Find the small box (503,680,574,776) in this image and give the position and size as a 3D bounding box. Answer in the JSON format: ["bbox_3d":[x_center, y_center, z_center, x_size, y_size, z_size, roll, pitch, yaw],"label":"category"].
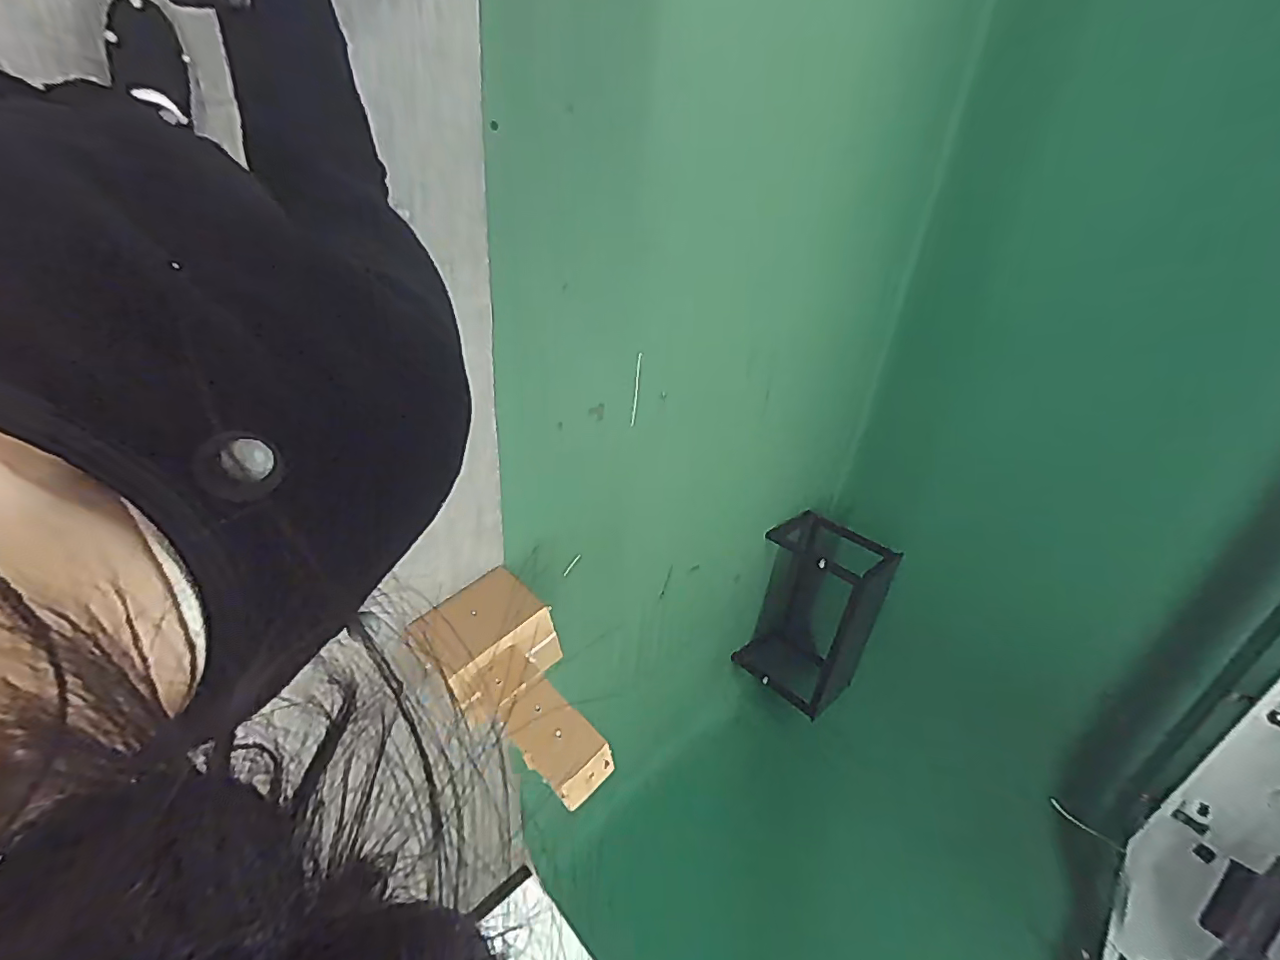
[{"bbox_3d":[-0.315,0.779,1.711,0.179,0.176,0.168,-35,135,-30],"label":"small box"}]

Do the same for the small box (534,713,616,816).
[{"bbox_3d":[-0.198,0.843,1.614,0.179,0.176,0.168,-33,135,-30],"label":"small box"}]

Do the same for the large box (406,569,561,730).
[{"bbox_3d":[-0.565,0.608,1.987,0.408,0.320,0.320,-35,137,-32],"label":"large box"}]

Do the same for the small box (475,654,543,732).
[{"bbox_3d":[-0.426,0.712,1.810,0.168,0.176,0.179,-33,135,-31],"label":"small box"}]
